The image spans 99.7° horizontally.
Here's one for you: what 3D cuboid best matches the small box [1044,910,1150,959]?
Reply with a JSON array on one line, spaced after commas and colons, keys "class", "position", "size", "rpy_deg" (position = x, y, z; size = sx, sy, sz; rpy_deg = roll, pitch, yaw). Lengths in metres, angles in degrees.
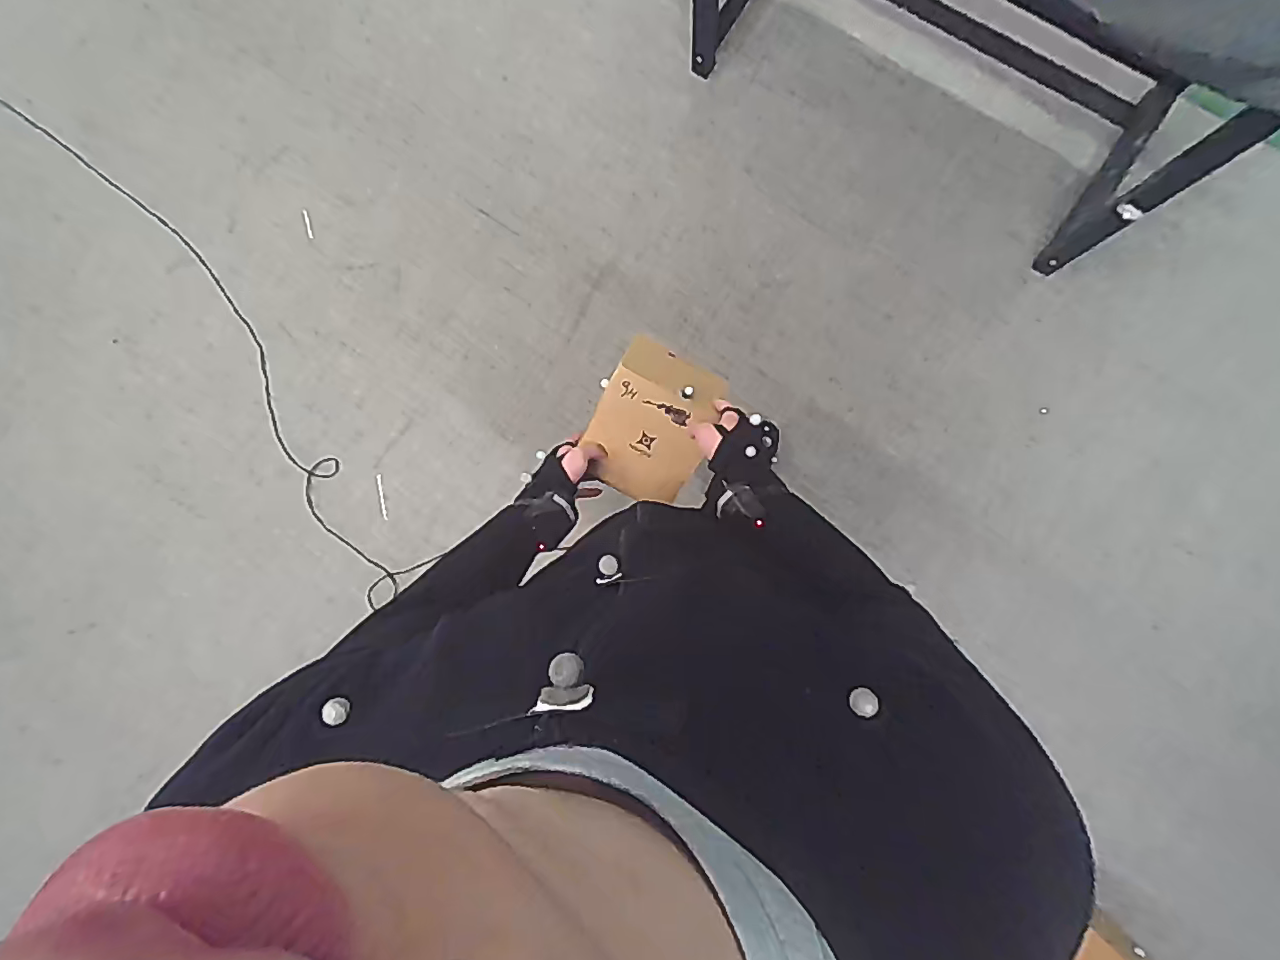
[{"class": "small box", "position": [0.946, 1.024, 1.070], "size": [0.168, 0.176, 0.179], "rpy_deg": [30, 87, 5]}]
